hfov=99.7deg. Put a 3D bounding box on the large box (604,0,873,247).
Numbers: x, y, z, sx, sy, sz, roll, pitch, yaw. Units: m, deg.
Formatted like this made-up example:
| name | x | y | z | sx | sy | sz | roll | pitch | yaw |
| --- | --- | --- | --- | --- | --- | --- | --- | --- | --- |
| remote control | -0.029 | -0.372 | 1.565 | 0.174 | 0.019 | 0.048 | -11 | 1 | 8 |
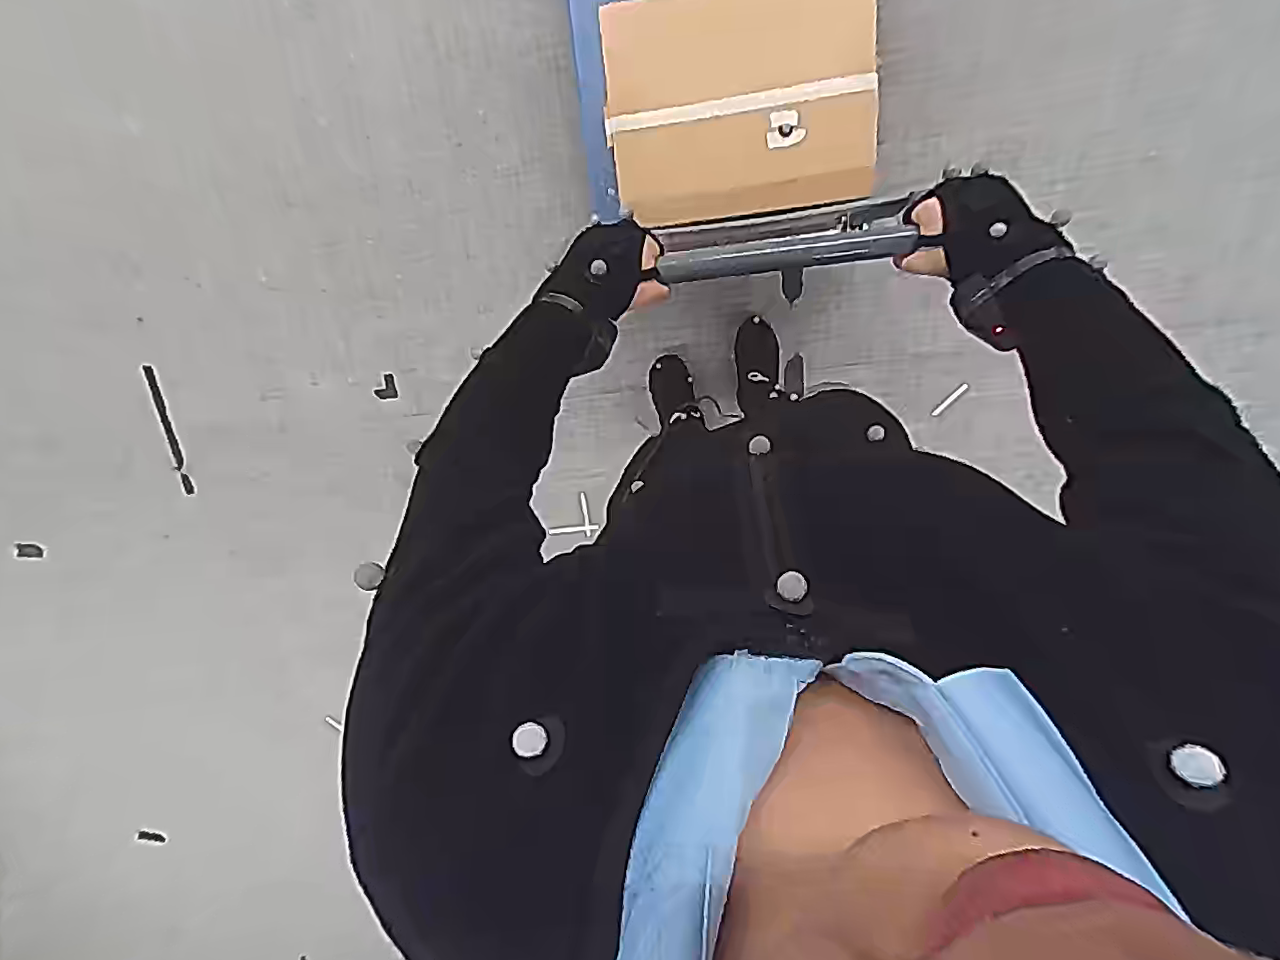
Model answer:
| name | x | y | z | sx | sy | sz | roll | pitch | yaw |
| --- | --- | --- | --- | --- | --- | --- | --- | --- | --- |
| large box | 0.169 | -0.632 | 0.988 | 0.408 | 0.320 | 0.320 | -5 | 108 | 6 |
